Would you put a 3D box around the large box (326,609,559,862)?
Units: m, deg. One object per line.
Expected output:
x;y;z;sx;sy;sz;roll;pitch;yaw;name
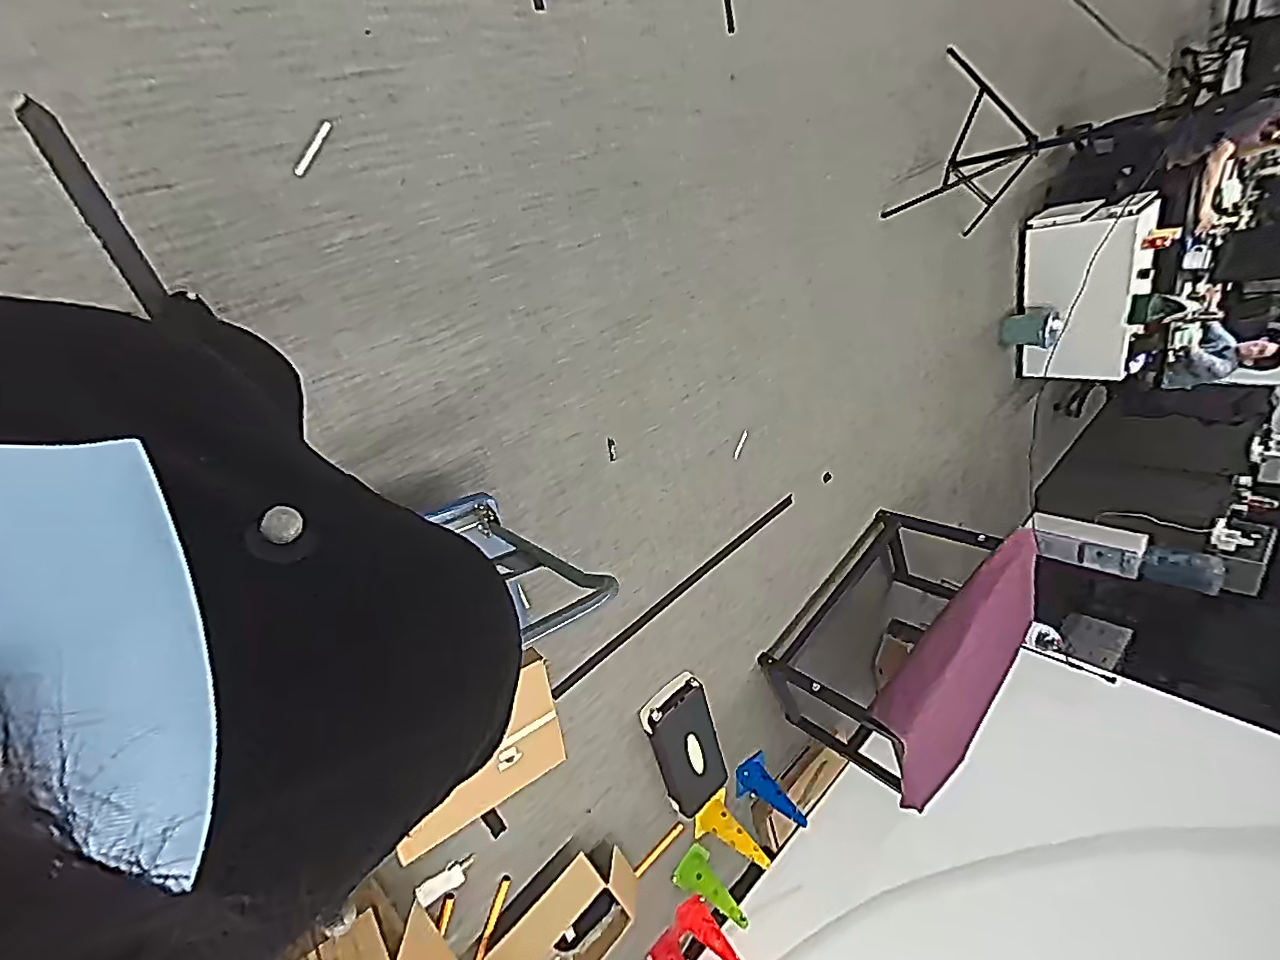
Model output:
-0.465;0.572;1.298;0.408;0.320;0.320;-21;114;-34;large box
